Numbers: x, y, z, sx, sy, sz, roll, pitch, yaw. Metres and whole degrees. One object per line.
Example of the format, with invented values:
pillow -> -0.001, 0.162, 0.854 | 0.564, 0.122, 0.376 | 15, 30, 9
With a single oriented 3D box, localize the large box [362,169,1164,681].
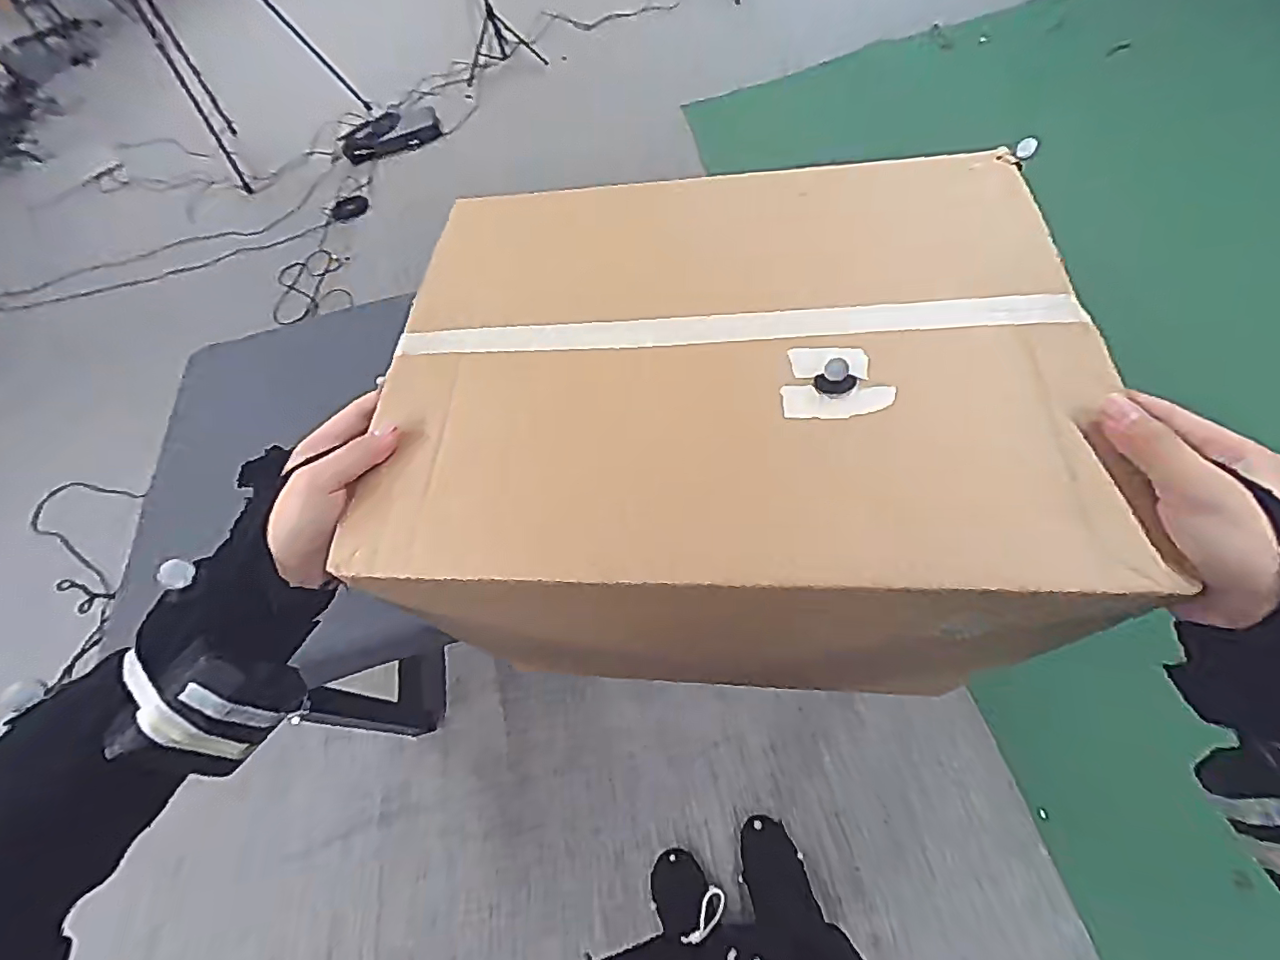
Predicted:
large box -> 0.067, -0.017, 0.470 | 0.408, 0.320, 0.320 | 0, 61, 8
